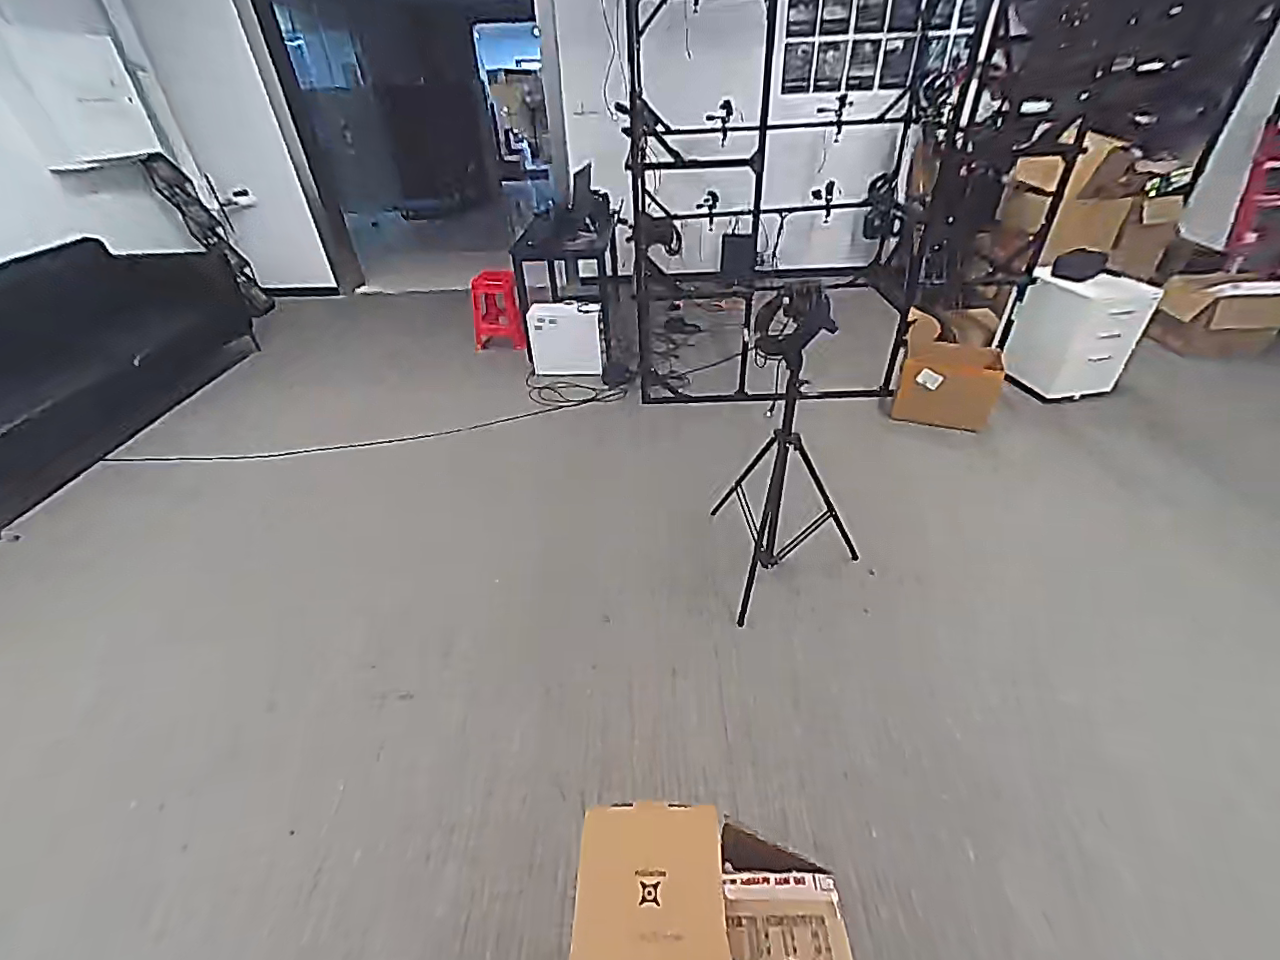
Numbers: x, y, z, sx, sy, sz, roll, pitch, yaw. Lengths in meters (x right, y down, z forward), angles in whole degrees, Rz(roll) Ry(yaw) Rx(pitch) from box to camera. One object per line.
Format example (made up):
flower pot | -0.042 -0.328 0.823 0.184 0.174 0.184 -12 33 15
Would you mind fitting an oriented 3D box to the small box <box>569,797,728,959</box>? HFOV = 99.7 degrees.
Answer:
small box | 0.015 0.513 0.655 0.168 0.176 0.179 -3 39 4
